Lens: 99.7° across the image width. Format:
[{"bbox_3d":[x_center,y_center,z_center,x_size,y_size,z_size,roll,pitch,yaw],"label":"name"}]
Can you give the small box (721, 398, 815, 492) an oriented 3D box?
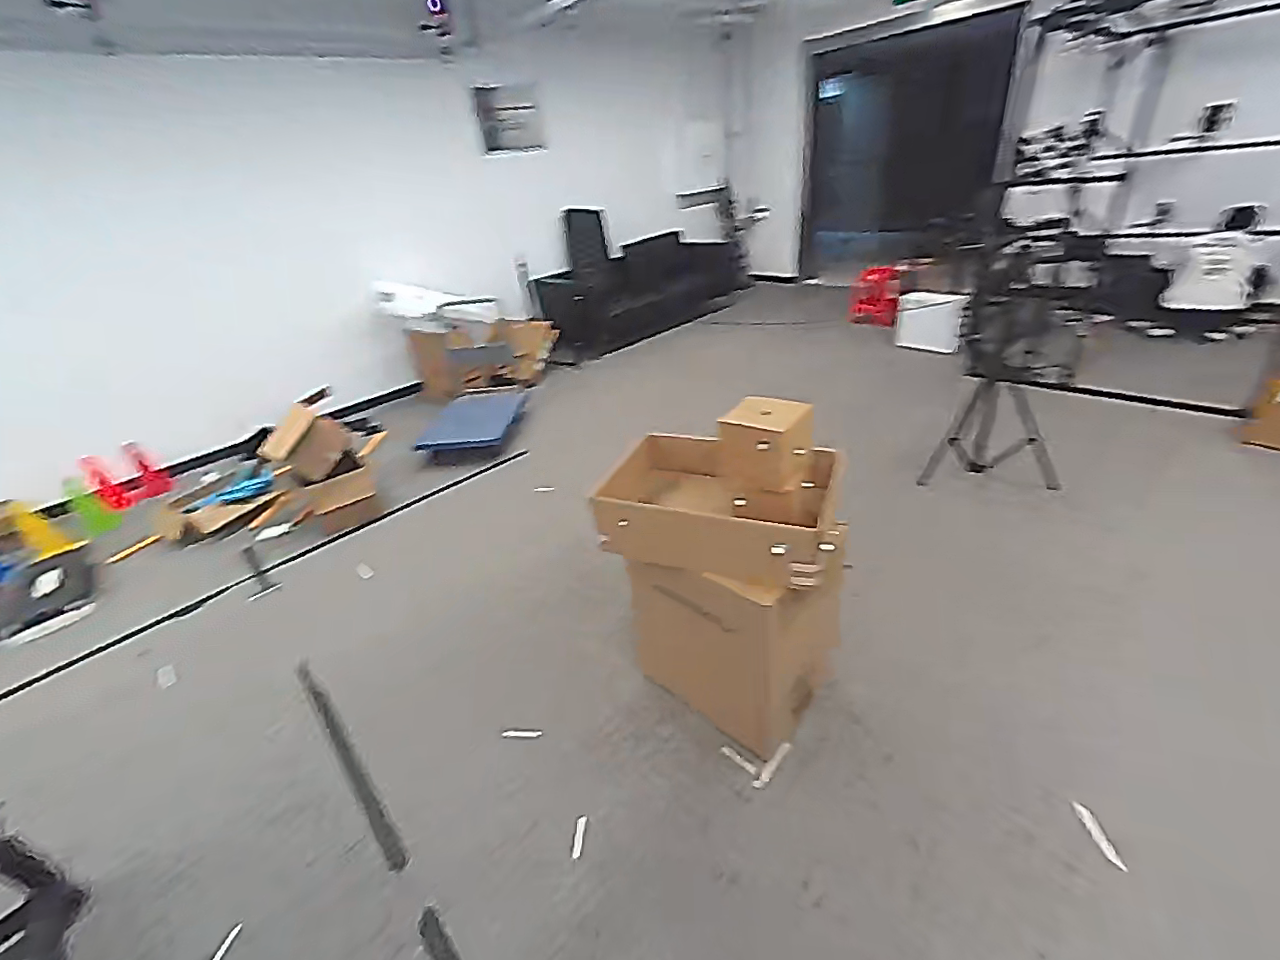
[{"bbox_3d":[0.326,-0.088,1.368,0.179,0.176,0.168,15,38,37],"label":"small box"}]
